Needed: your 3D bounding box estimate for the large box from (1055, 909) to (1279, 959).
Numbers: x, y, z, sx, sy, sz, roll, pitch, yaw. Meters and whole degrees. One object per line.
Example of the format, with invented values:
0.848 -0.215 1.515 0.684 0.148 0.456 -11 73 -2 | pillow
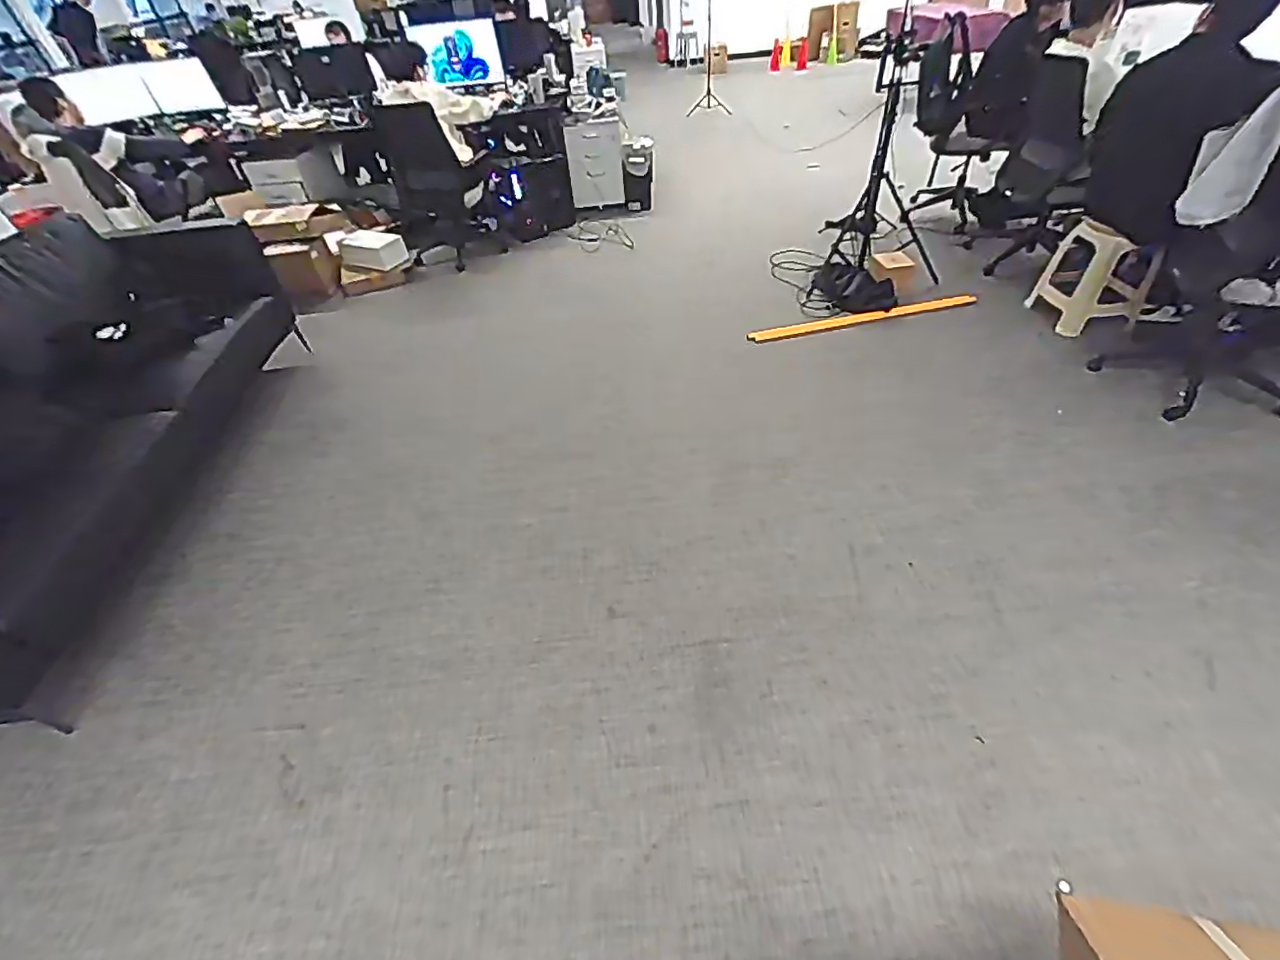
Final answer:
0.667 0.732 0.512 0.320 0.408 0.320 1 85 18 | large box
